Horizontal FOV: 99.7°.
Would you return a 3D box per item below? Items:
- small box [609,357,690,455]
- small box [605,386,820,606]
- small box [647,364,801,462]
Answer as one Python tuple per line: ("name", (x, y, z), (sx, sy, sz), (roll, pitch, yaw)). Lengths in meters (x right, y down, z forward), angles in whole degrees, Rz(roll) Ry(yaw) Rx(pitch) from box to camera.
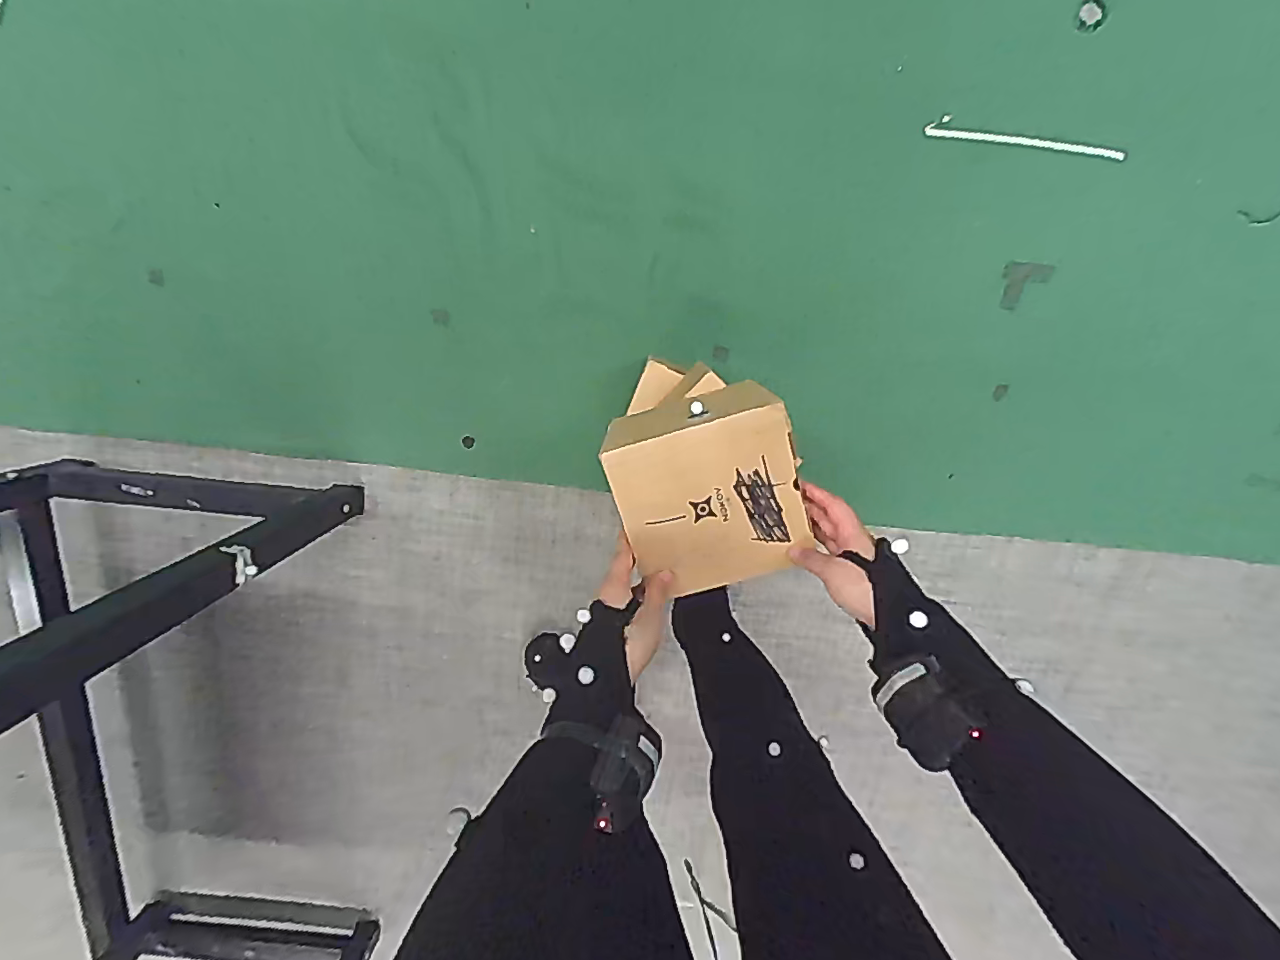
("small box", (0.058, -0.091, 0.897), (0.168, 0.176, 0.179), (22, 105, -5))
("small box", (0.072, 0.006, 0.585), (0.179, 0.176, 0.168), (-15, 106, 7))
("small box", (0.085, -0.038, 0.743), (0.168, 0.176, 0.179), (42, 102, -11))
